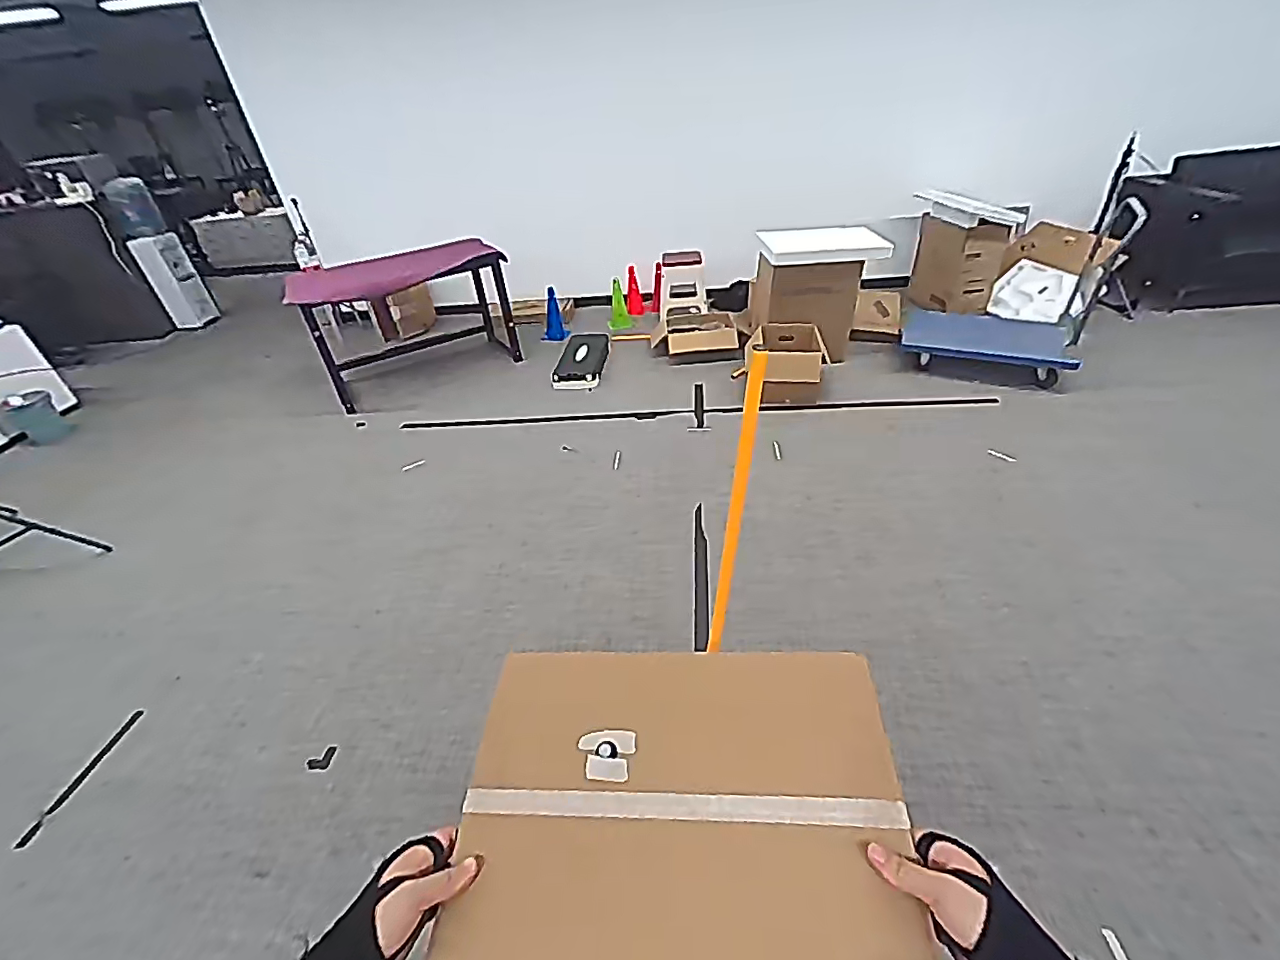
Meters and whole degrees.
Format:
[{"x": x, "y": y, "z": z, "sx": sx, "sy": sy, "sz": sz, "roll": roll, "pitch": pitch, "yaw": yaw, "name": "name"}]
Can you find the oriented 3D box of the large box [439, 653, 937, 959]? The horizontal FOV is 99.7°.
[{"x": 0.058, "y": 0.416, "z": 0.605, "sx": 0.408, "sy": 0.320, "sz": 0.320, "roll": -4, "pitch": 42, "yaw": 9, "name": "large box"}]
